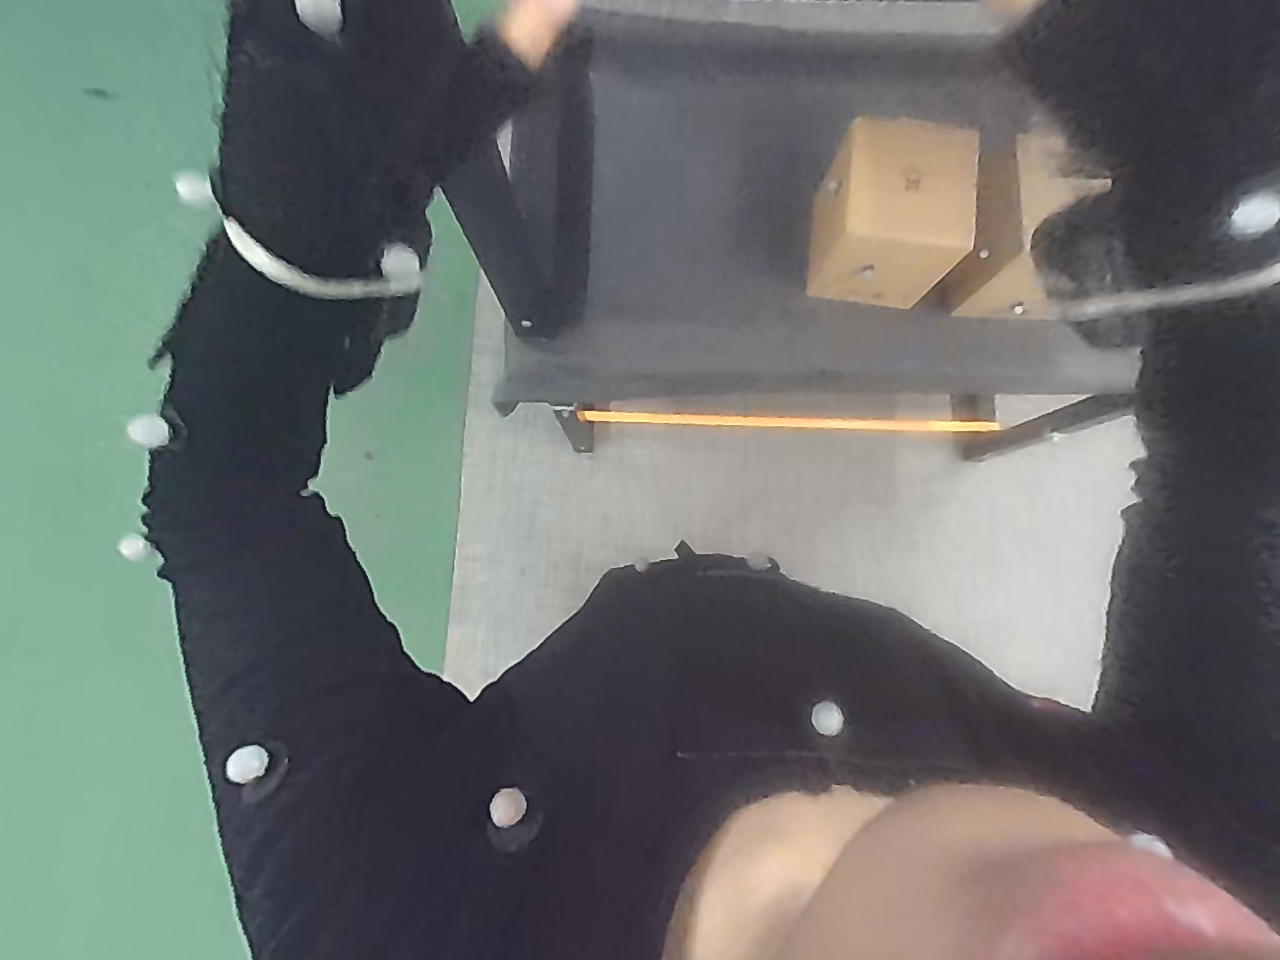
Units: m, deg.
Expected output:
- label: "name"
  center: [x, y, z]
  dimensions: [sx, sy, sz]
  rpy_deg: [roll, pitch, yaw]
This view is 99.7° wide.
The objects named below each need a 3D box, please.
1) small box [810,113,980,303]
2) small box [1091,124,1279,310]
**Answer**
- label: "small box"
  center: [0.355, -0.378, 0.779]
  dimensions: [0.168, 0.176, 0.179]
  rpy_deg: [8, 80, 1]
- label: "small box"
  center: [0.796, -0.363, 0.774]
  dimensions: [0.168, 0.176, 0.179]
  rpy_deg: [5, 80, 1]
